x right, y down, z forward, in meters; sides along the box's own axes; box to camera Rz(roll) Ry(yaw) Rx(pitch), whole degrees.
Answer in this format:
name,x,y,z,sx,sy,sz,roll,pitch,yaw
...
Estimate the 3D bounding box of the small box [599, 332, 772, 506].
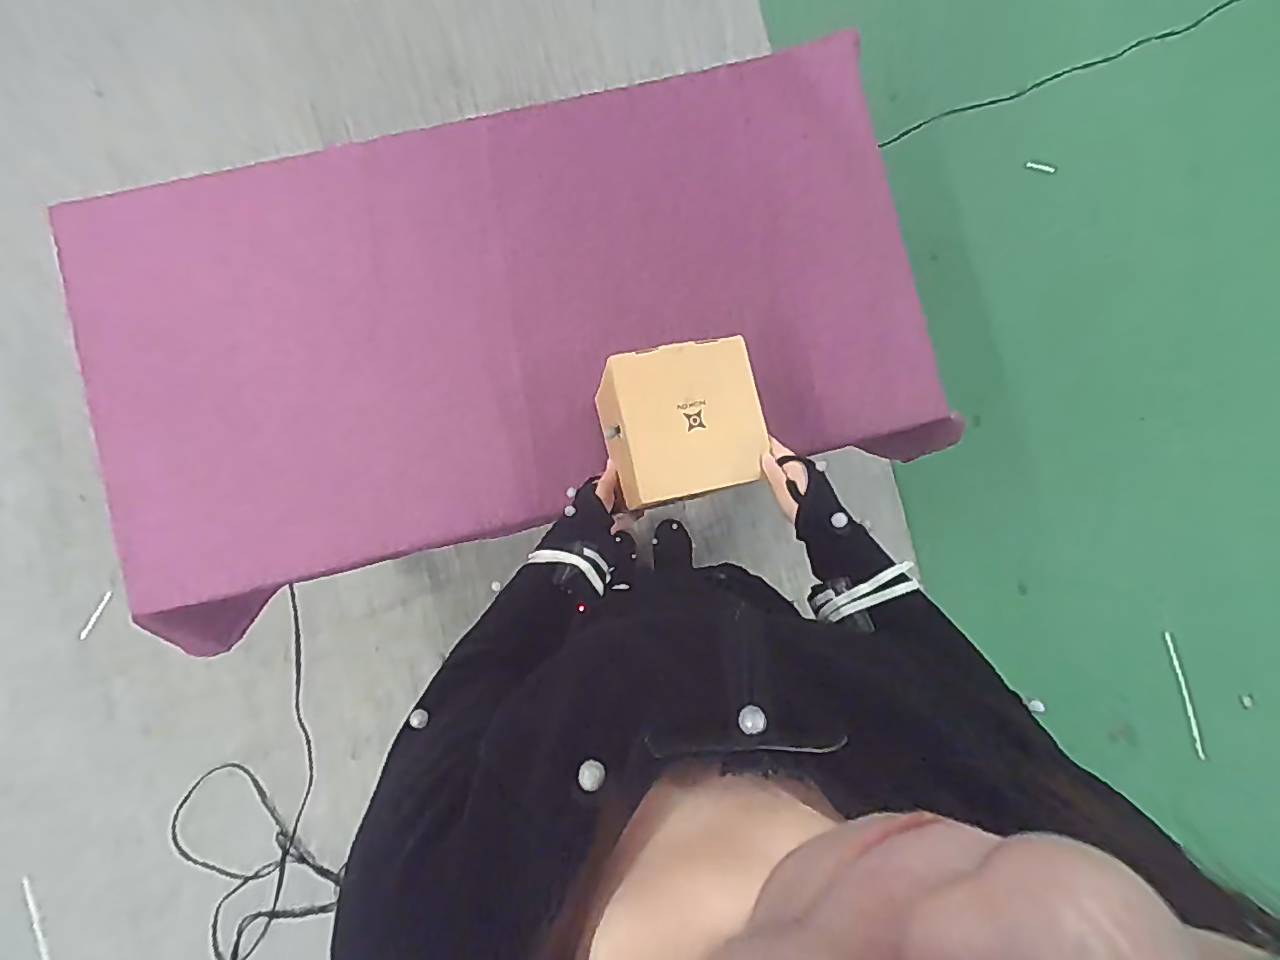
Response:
name,x,y,z,sx,sy,sz,roll,pitch,yaw
small box,0.046,-0.066,0.694,0.168,0.176,0.179,-11,83,-10
